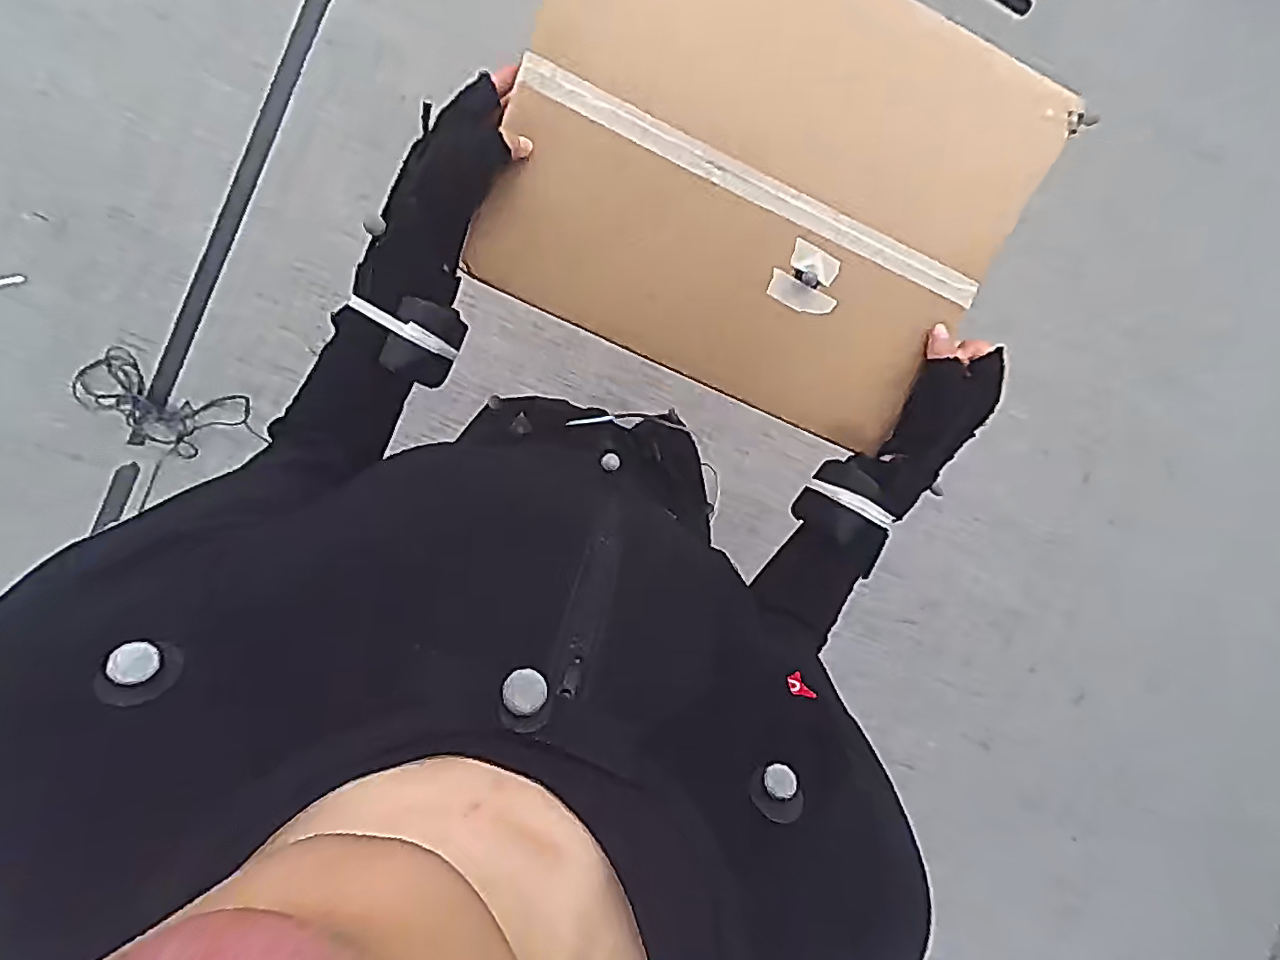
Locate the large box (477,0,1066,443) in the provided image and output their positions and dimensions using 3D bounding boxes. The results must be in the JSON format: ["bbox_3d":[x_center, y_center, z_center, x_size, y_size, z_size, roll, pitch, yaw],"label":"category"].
[{"bbox_3d":[0.095,-0.284,0.584,0.408,0.320,0.320,23,107,-9],"label":"large box"}]
